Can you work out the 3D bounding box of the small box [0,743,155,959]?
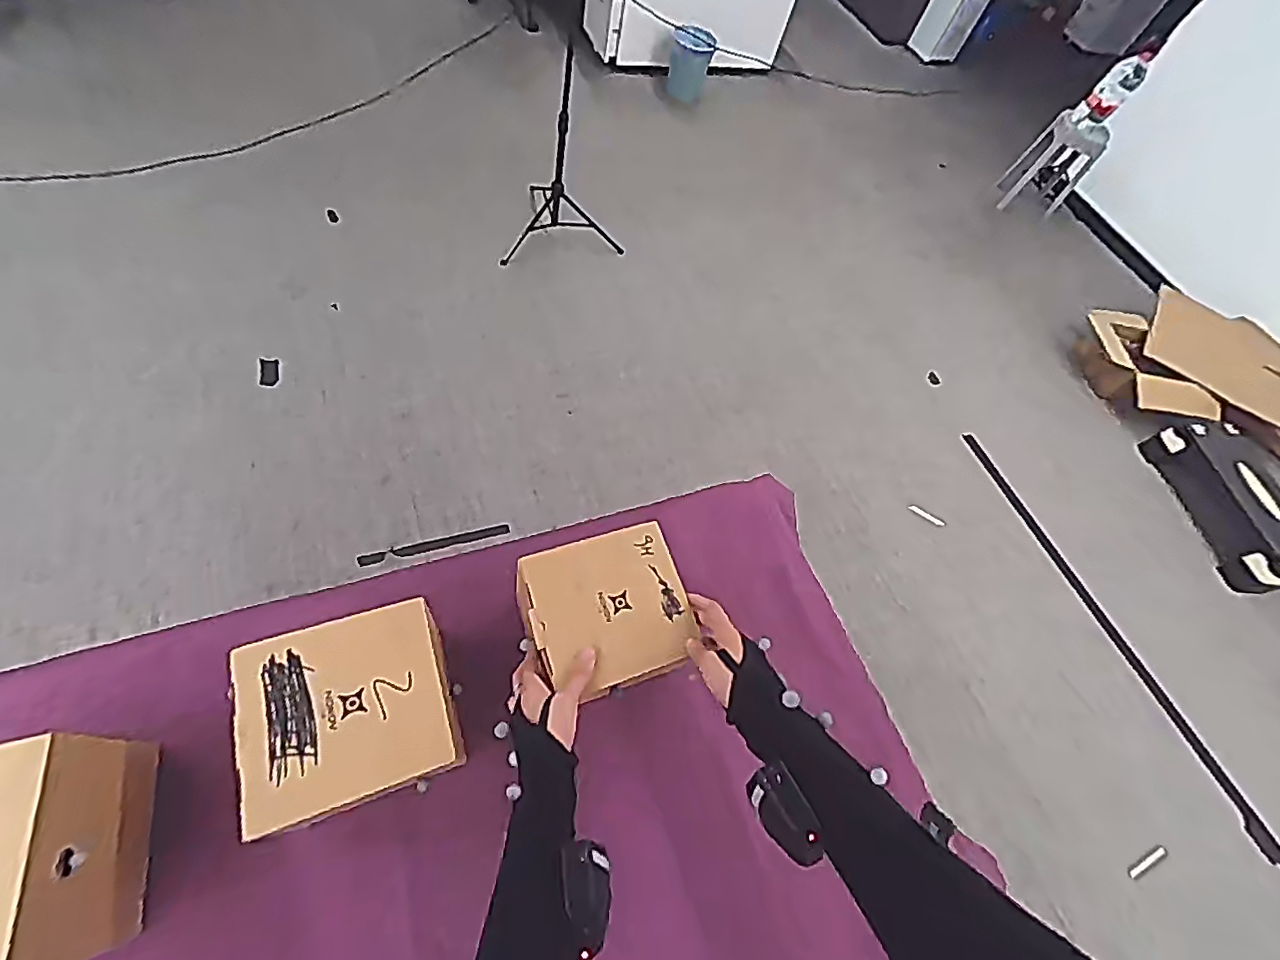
[{"bbox_3d":[-0.559,0.339,0.458,0.168,0.176,0.179,-8,64,-18],"label":"small box"}]
